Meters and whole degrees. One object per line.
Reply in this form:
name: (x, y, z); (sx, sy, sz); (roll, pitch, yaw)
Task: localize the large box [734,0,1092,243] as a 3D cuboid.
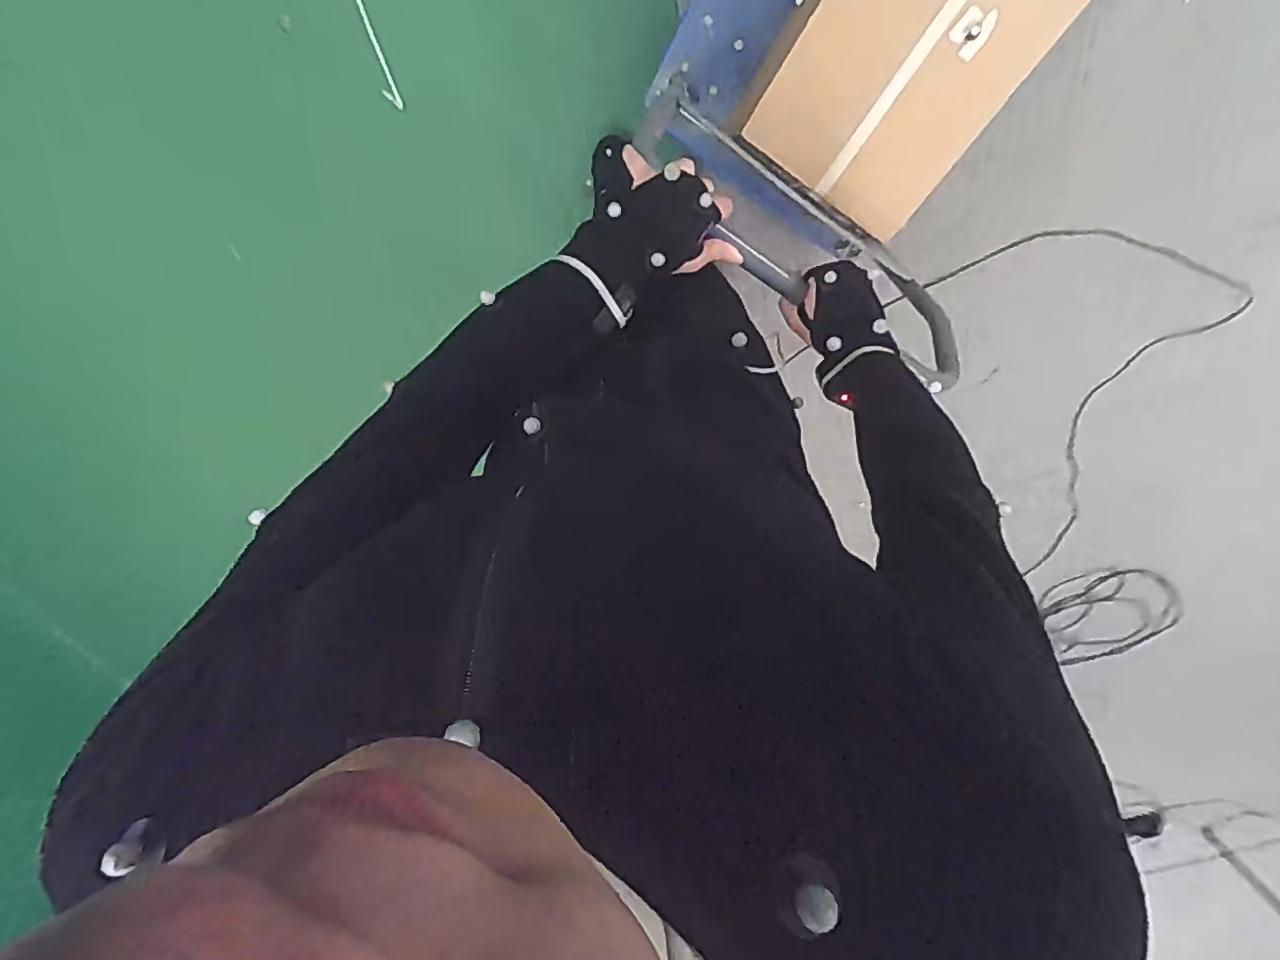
large box: (0.404, -0.684, 0.900); (0.320, 0.320, 0.408); (28, 121, -16)
